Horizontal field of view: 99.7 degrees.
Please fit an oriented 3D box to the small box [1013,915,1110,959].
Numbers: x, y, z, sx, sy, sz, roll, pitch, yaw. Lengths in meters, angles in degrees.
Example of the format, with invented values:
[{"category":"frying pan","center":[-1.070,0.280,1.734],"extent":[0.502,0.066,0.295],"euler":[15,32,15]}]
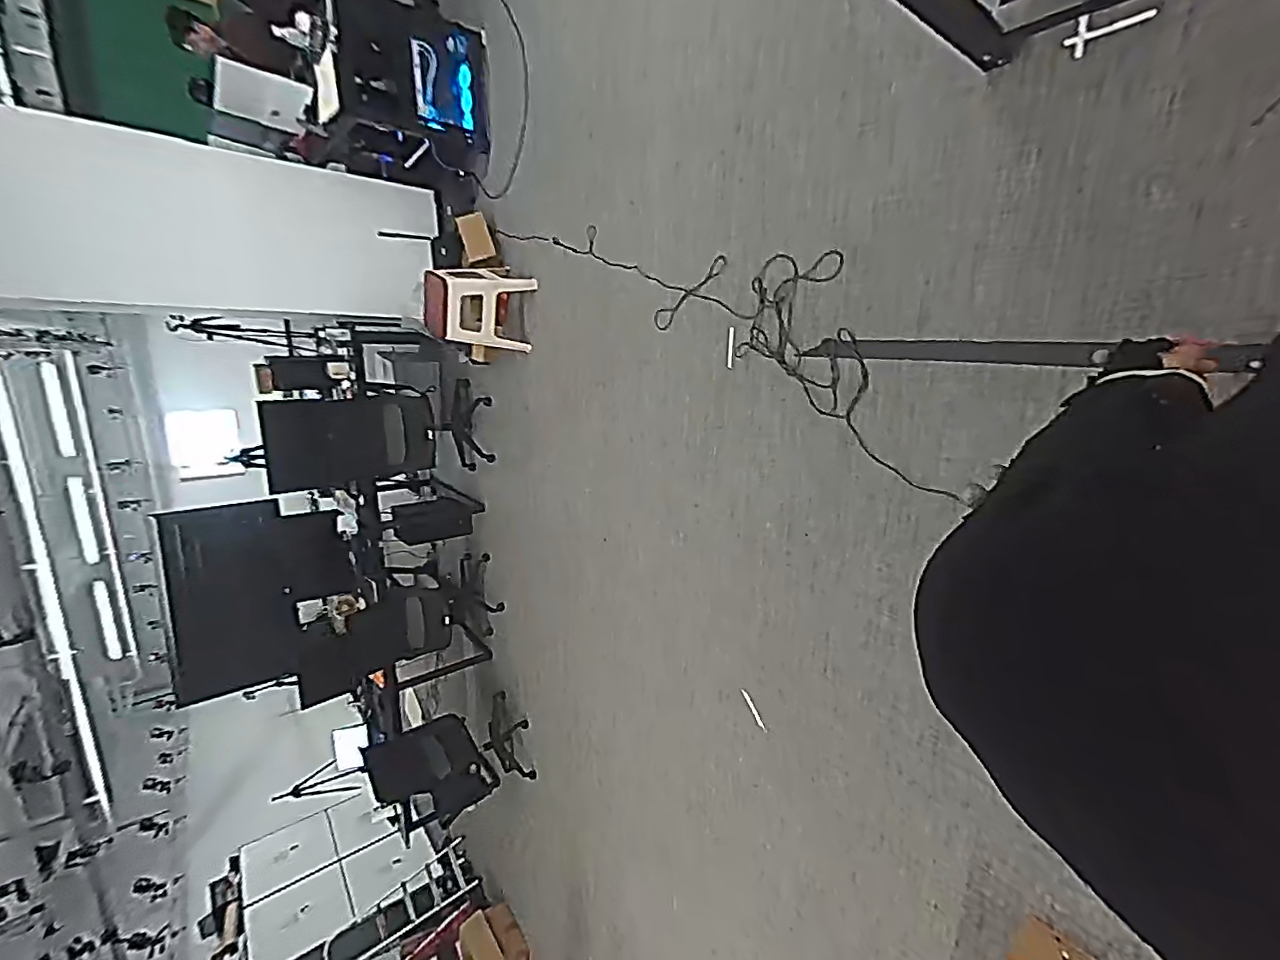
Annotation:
[{"category":"small box","center":[0.979,1.183,1.255],"extent":[0.168,0.176,0.179],"euler":[16,110,50]}]
